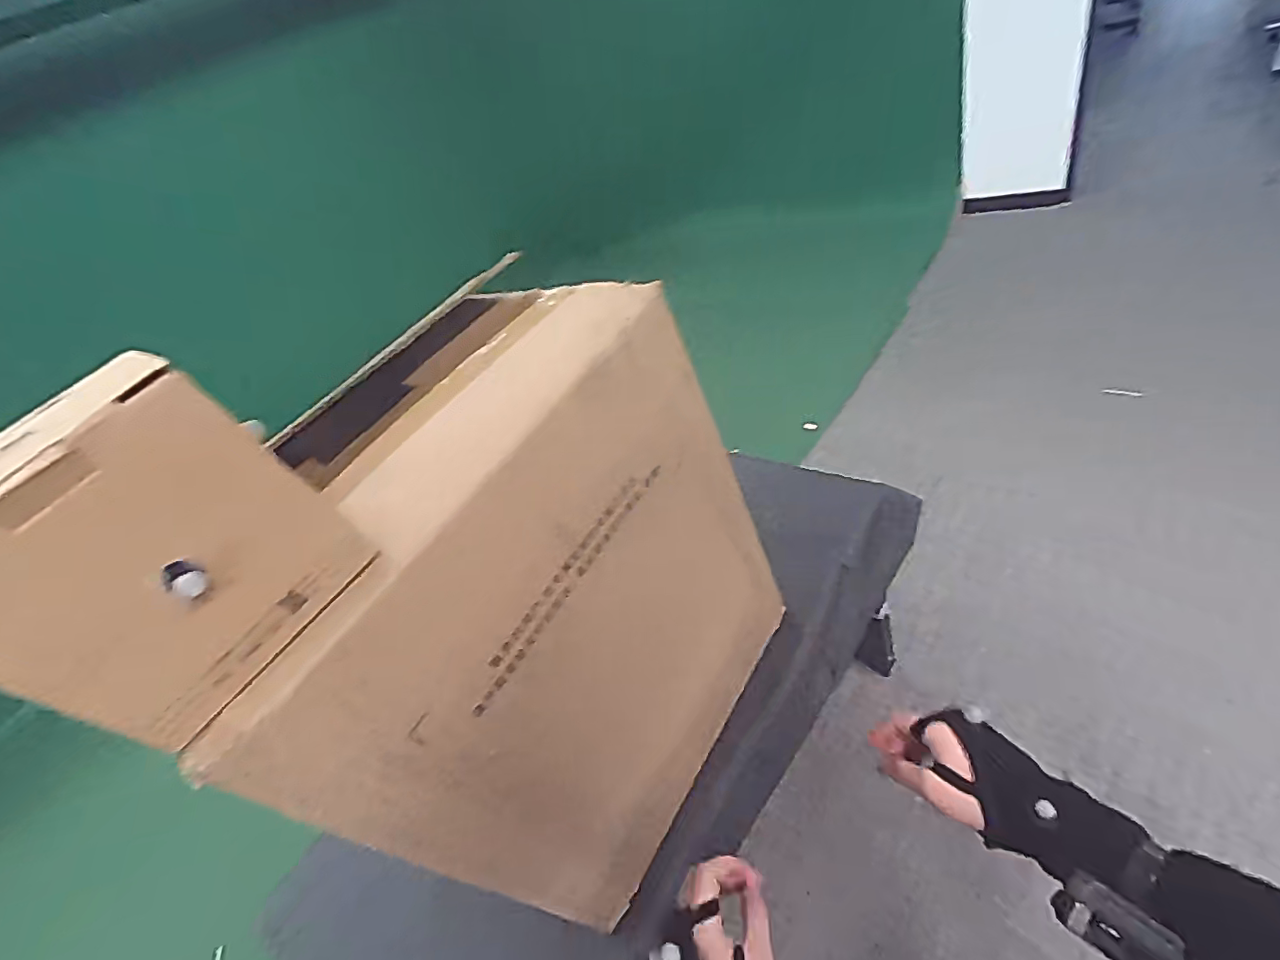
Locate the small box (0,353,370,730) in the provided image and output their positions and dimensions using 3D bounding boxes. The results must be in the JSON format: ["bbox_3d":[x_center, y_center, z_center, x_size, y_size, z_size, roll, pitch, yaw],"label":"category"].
[{"bbox_3d":[-0.325,0.038,0.363,0.179,0.176,0.168,16,56,39],"label":"small box"}]
